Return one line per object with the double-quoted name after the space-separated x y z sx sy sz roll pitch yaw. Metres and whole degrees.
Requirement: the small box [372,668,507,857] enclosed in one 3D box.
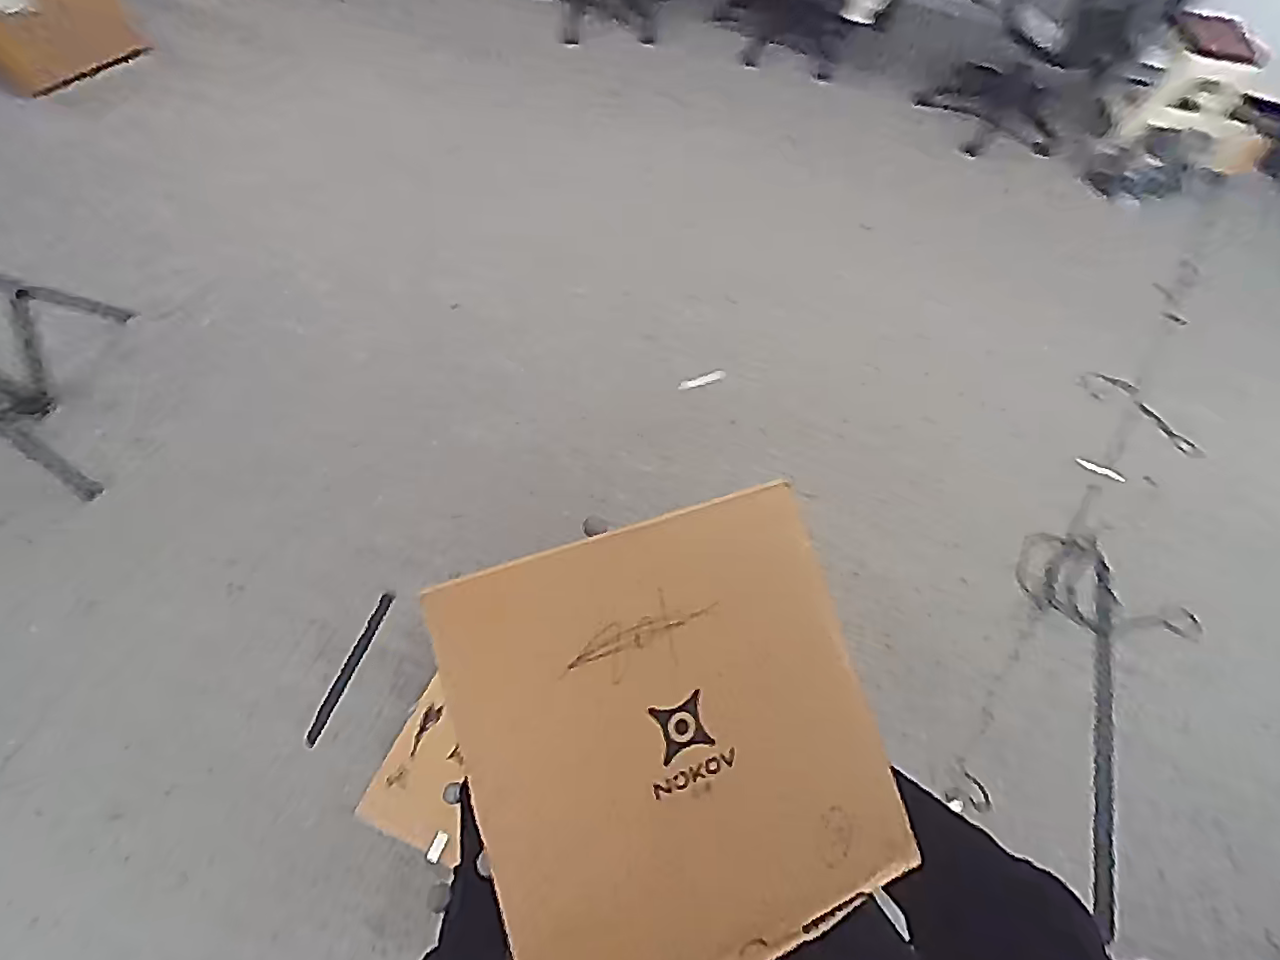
-0.227 0.383 0.757 0.179 0.176 0.168 25 65 4 "small box"
